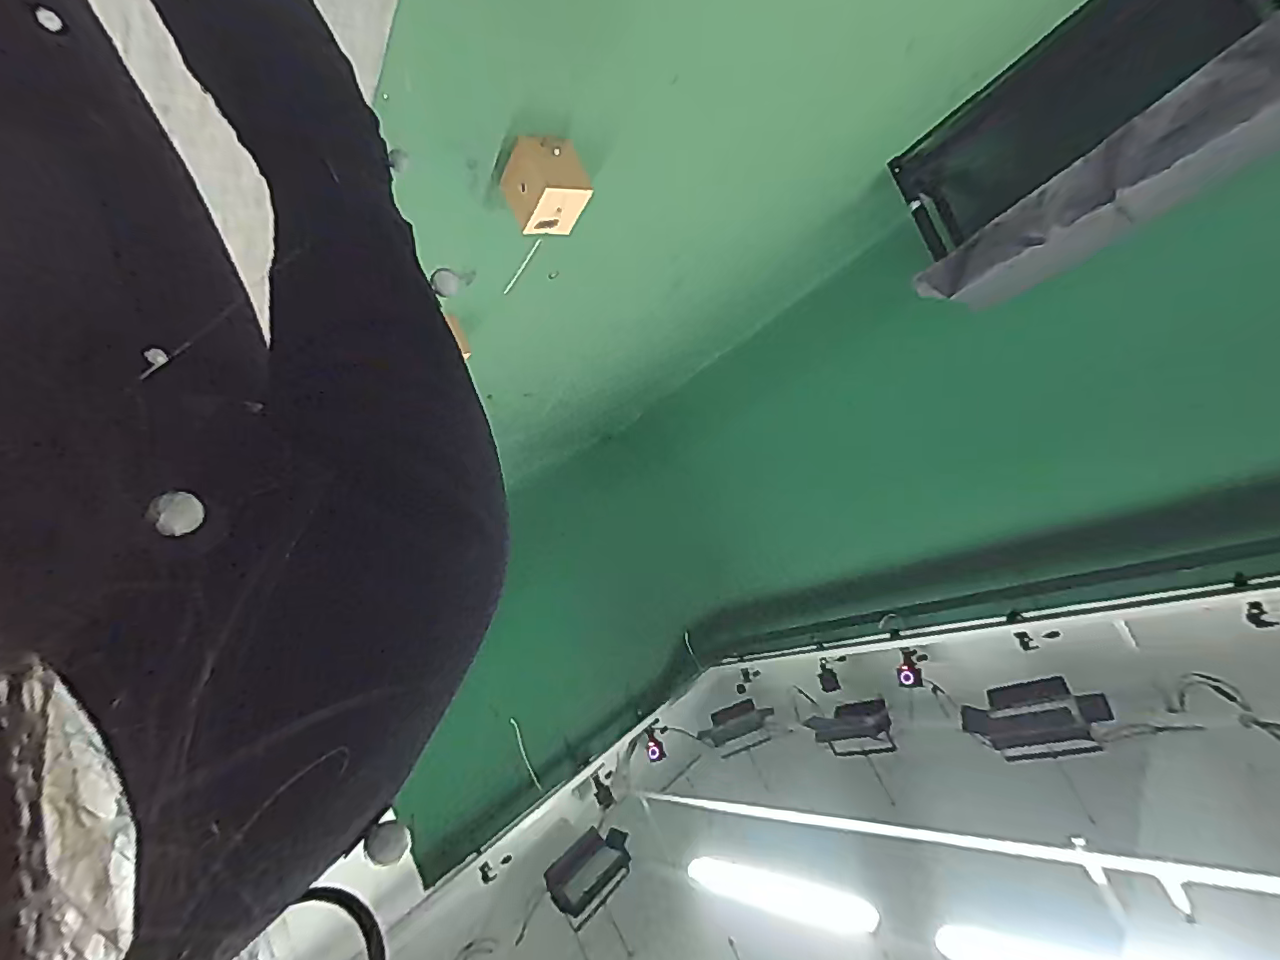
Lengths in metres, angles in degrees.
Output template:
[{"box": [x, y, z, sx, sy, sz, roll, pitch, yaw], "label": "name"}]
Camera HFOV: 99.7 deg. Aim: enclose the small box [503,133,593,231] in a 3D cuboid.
[{"box": [-0.266, -0.833, 1.526, 0.168, 0.176, 0.179, -22, 173, -39], "label": "small box"}]
